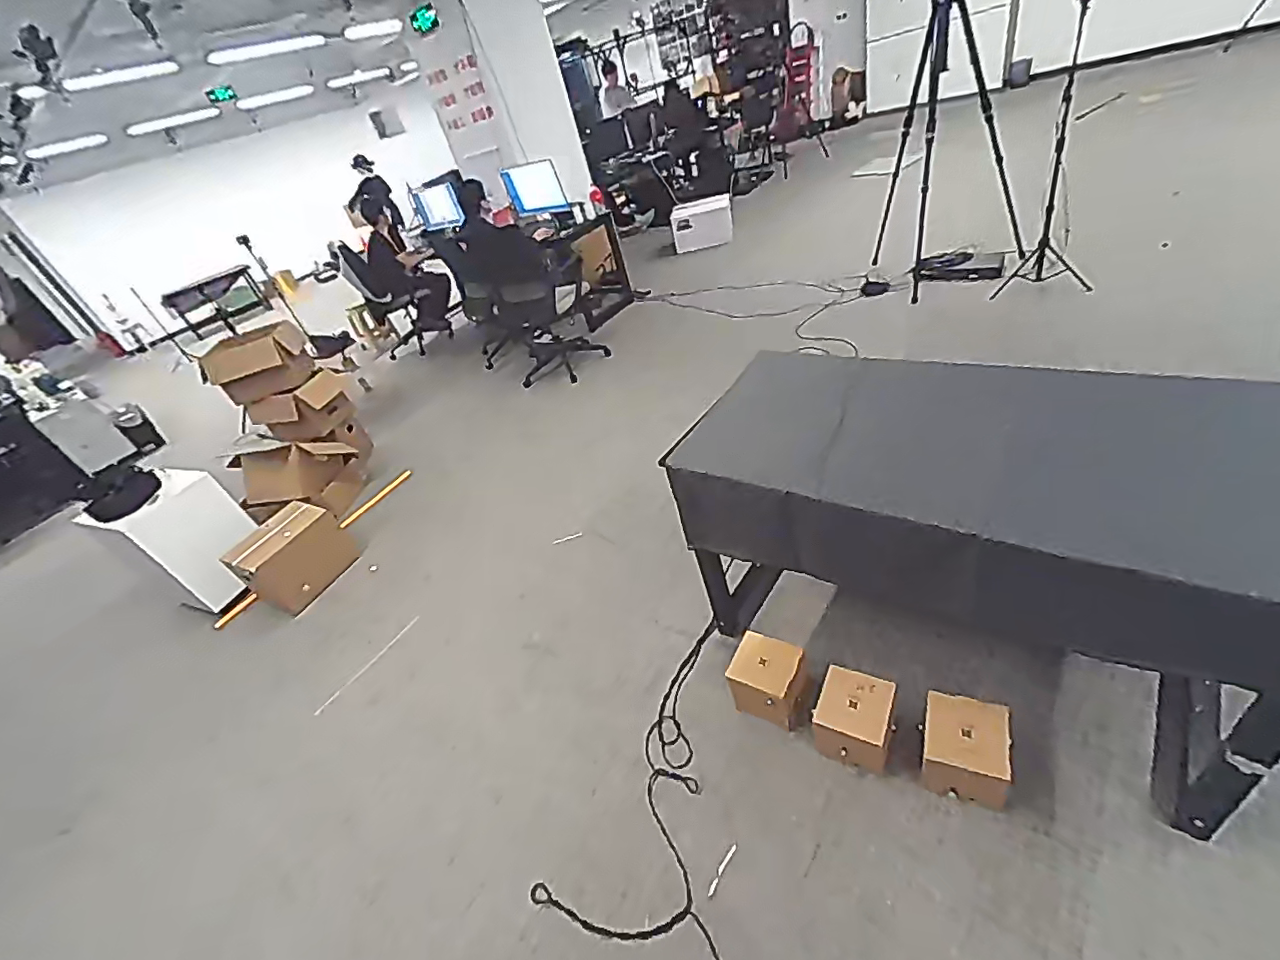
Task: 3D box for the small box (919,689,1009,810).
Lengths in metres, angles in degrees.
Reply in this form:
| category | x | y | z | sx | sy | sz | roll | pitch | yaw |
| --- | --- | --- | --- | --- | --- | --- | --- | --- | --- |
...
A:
| category | x | y | z | sx | sy | sz | roll | pitch | yaw |
| --- | --- | --- | --- | --- | --- | --- | --- | --- | --- |
| small box | 0.763 | 0.636 | 1.280 | 0.168 | 0.176 | 0.179 | 5 | 42 | 29 |
